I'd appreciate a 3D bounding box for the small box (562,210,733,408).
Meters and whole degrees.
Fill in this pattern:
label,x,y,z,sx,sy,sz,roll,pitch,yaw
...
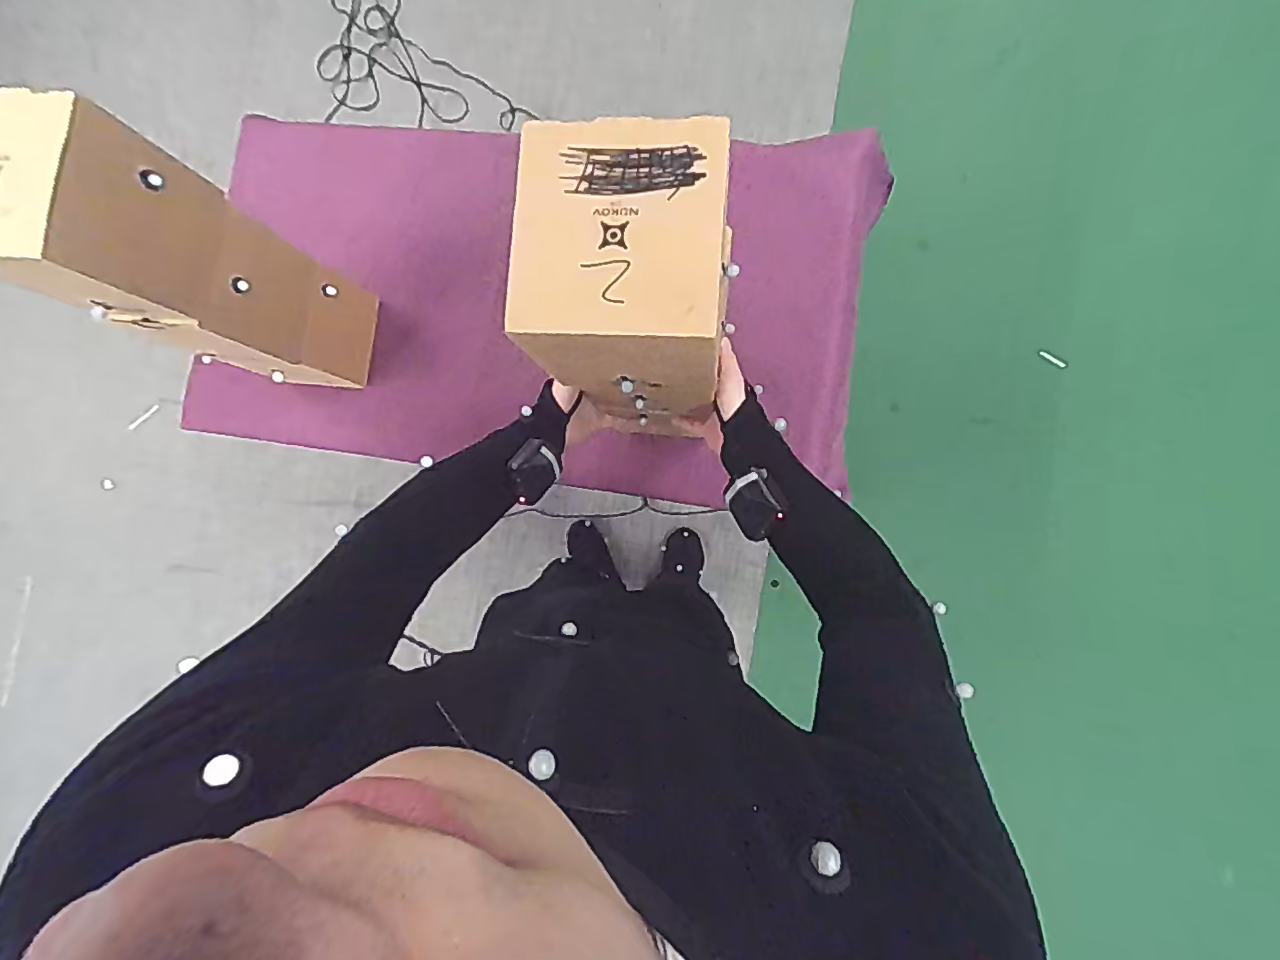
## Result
label,x,y,z,sx,sy,sz,roll,pitch,yaw
small box,0.018,-0.192,0.650,0.168,0.176,0.179,7,86,8

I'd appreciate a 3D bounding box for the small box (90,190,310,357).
label,x,y,z,sx,sy,sz,roll,pitch,yaw
small box,-0.612,-0.286,0.774,0.168,0.176,0.179,7,86,8

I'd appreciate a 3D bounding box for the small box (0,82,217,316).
label,x,y,z,sx,sy,sz,roll,pitch,yaw
small box,-0.632,-0.307,0.613,0.168,0.176,0.179,7,86,9

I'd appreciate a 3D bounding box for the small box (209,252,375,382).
label,x,y,z,sx,sy,sz,roll,pitch,yaw
small box,-0.590,-0.275,0.937,0.168,0.176,0.179,6,86,9

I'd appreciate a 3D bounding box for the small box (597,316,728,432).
label,x,y,z,sx,sy,sz,roll,pitch,yaw
small box,0.041,-0.177,0.814,0.168,0.176,0.179,6,87,9
